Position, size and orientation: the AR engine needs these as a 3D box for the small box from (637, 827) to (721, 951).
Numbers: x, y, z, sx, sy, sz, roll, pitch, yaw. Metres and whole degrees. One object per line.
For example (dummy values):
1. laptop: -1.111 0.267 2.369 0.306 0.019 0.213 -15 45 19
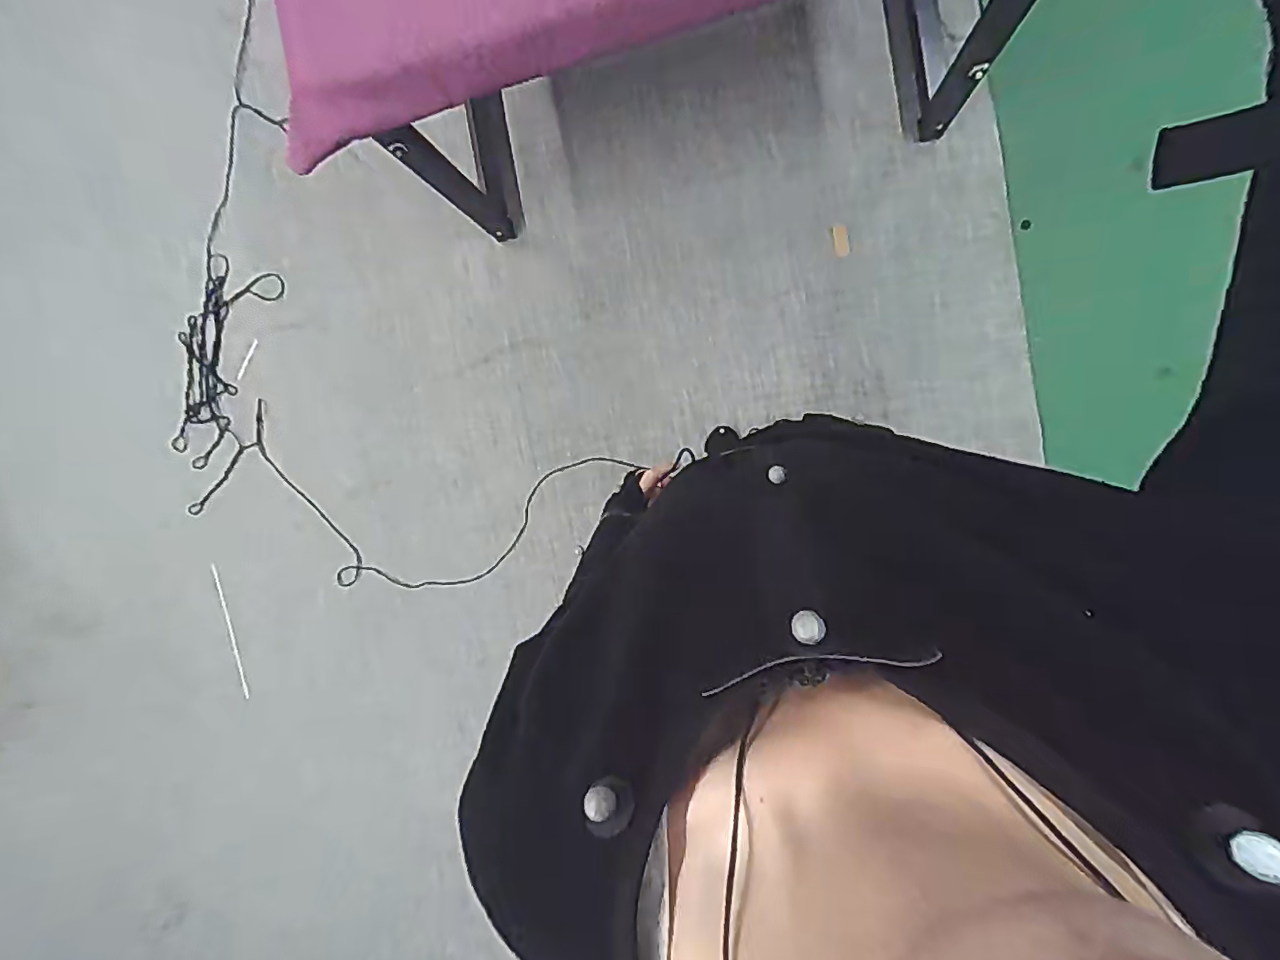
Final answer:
1. small box: 0.102 0.993 1.322 0.168 0.176 0.179 -13 93 10

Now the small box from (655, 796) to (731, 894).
1. small box: 0.142 1.002 1.482 0.179 0.176 0.168 -17 91 11
